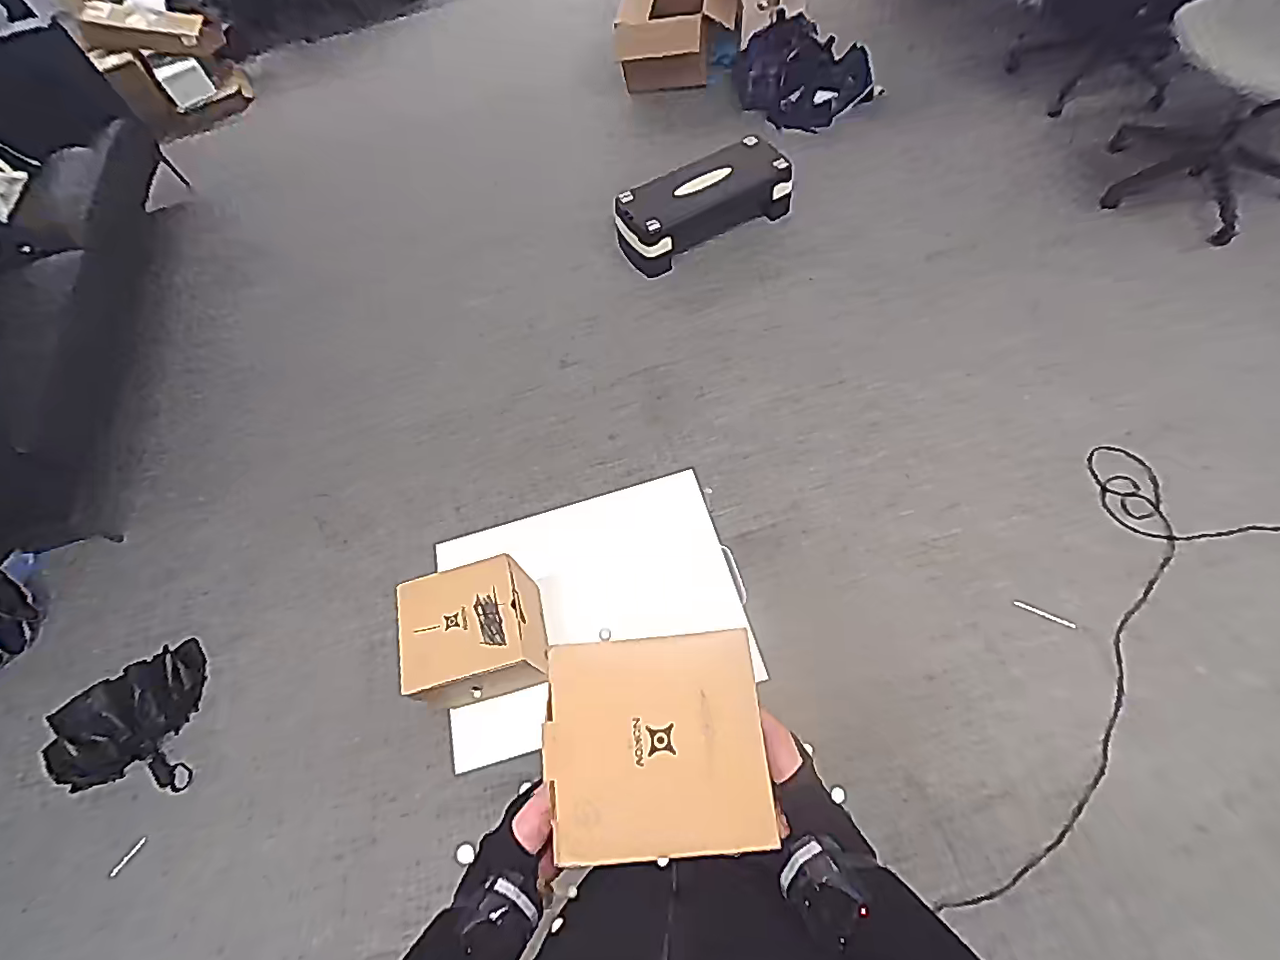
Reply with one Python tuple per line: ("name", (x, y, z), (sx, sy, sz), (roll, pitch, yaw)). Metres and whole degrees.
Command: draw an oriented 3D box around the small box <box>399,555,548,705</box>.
("small box", (-0.250, 0.239, 0.844), (0.179, 0.176, 0.168), (-16, 61, -1))
